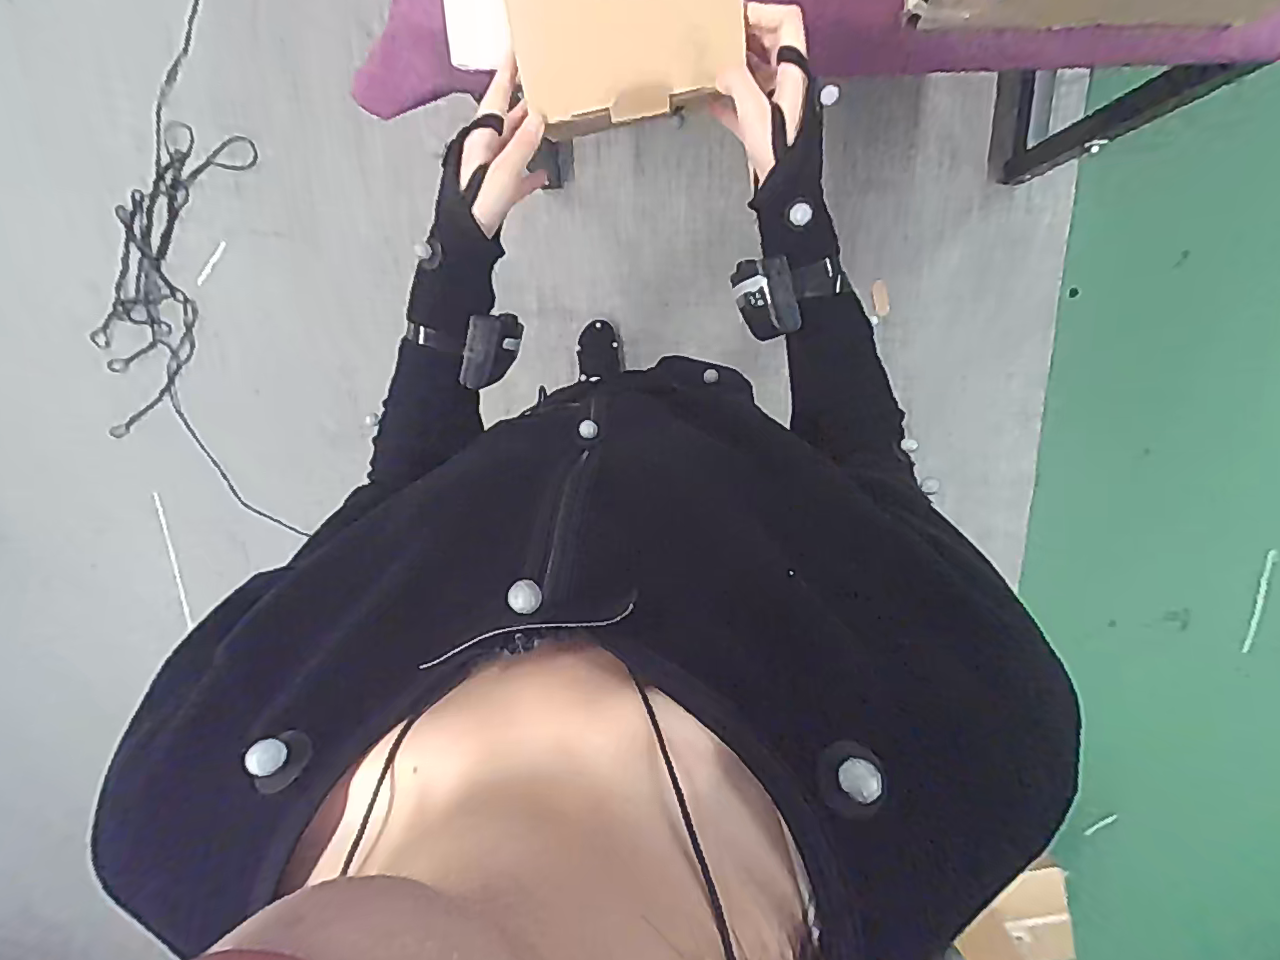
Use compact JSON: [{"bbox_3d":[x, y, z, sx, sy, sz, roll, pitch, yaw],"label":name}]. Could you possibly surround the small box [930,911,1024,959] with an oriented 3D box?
[{"bbox_3d":[0.844,1.220,1.344,0.179,0.176,0.168,-10,102,5],"label":"small box"}]
